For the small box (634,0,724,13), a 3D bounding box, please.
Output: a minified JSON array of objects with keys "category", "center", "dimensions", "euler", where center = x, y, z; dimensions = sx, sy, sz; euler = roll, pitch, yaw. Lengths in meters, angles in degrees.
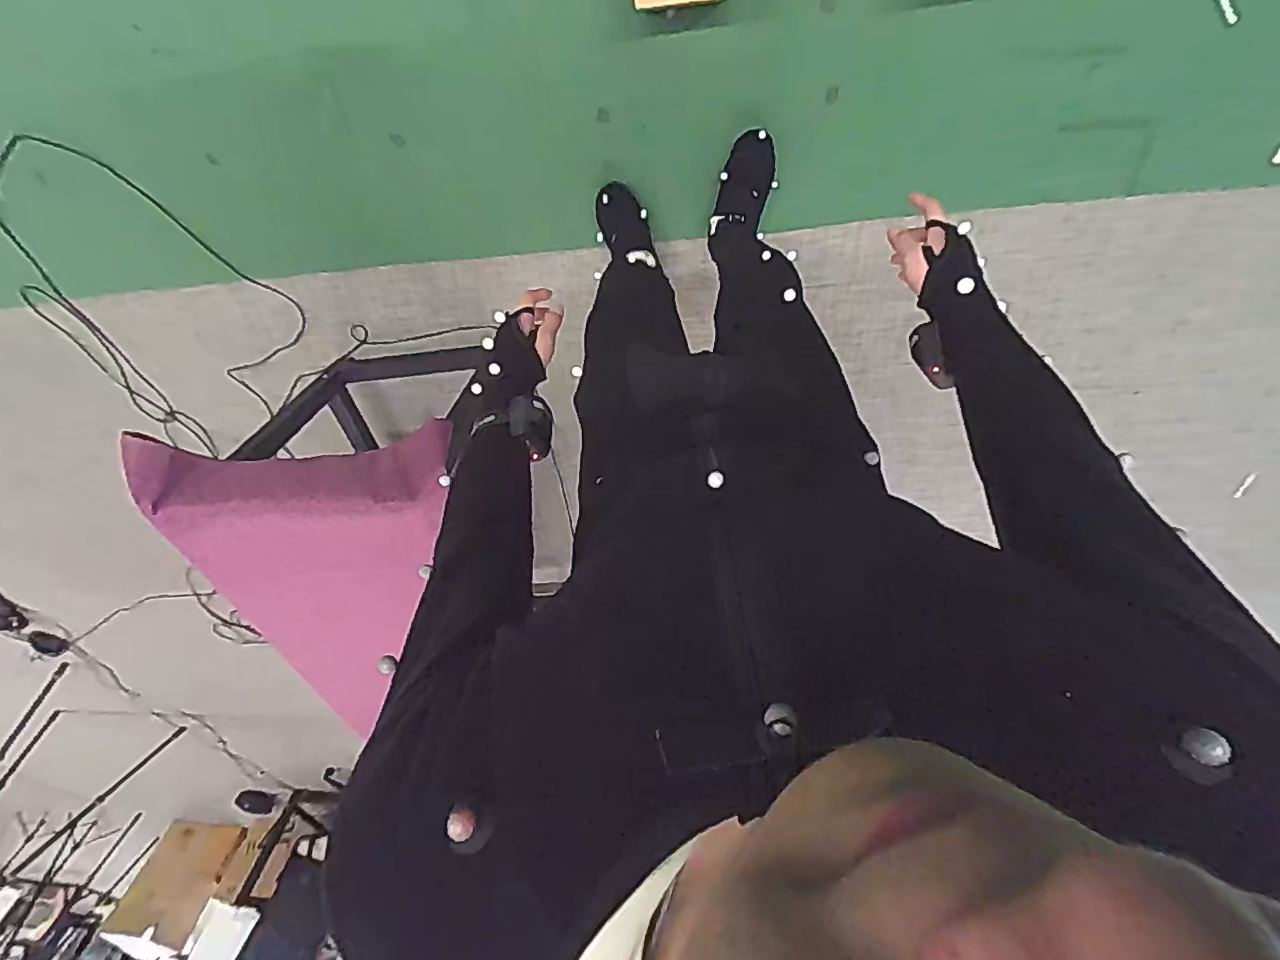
[{"category":"small box","center":[0.071,-0.958,0.966],"dimensions":[0.168,0.176,0.179],"euler":[-2,128,7]}]
